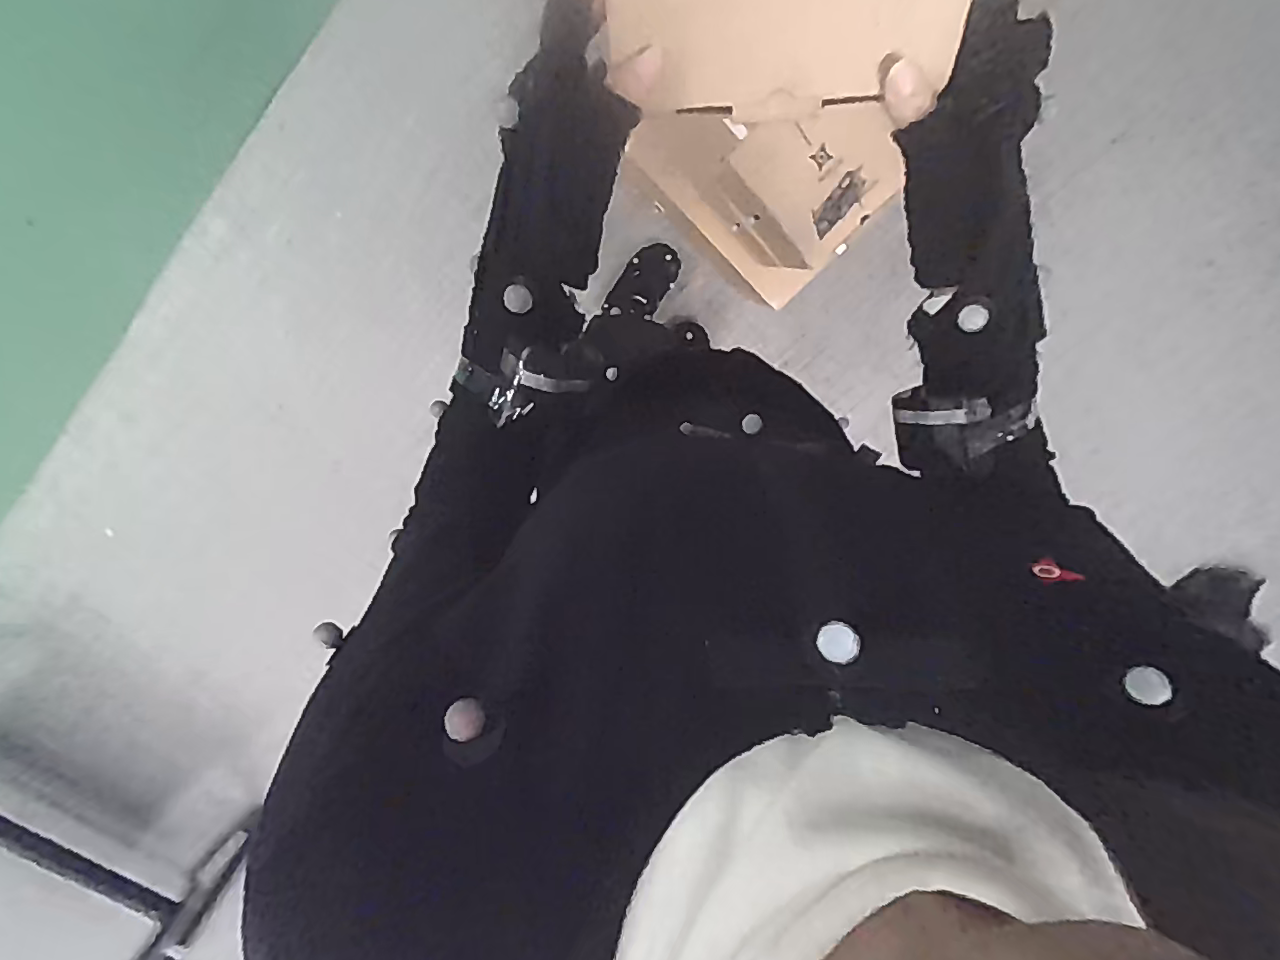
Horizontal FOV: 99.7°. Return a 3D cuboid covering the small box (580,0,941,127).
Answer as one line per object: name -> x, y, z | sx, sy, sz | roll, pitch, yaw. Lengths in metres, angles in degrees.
small box -> 0.052, -0.302, 0.274 | 0.168, 0.176, 0.179 | -4, 132, 1

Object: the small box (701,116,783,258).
small box -> 0.215, -0.483, 0.872 | 0.168, 0.176, 0.179 | -41, 107, 17

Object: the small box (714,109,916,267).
small box -> 0.219, -0.414, 0.723 | 0.179, 0.176, 0.168 | 42, 108, -15
